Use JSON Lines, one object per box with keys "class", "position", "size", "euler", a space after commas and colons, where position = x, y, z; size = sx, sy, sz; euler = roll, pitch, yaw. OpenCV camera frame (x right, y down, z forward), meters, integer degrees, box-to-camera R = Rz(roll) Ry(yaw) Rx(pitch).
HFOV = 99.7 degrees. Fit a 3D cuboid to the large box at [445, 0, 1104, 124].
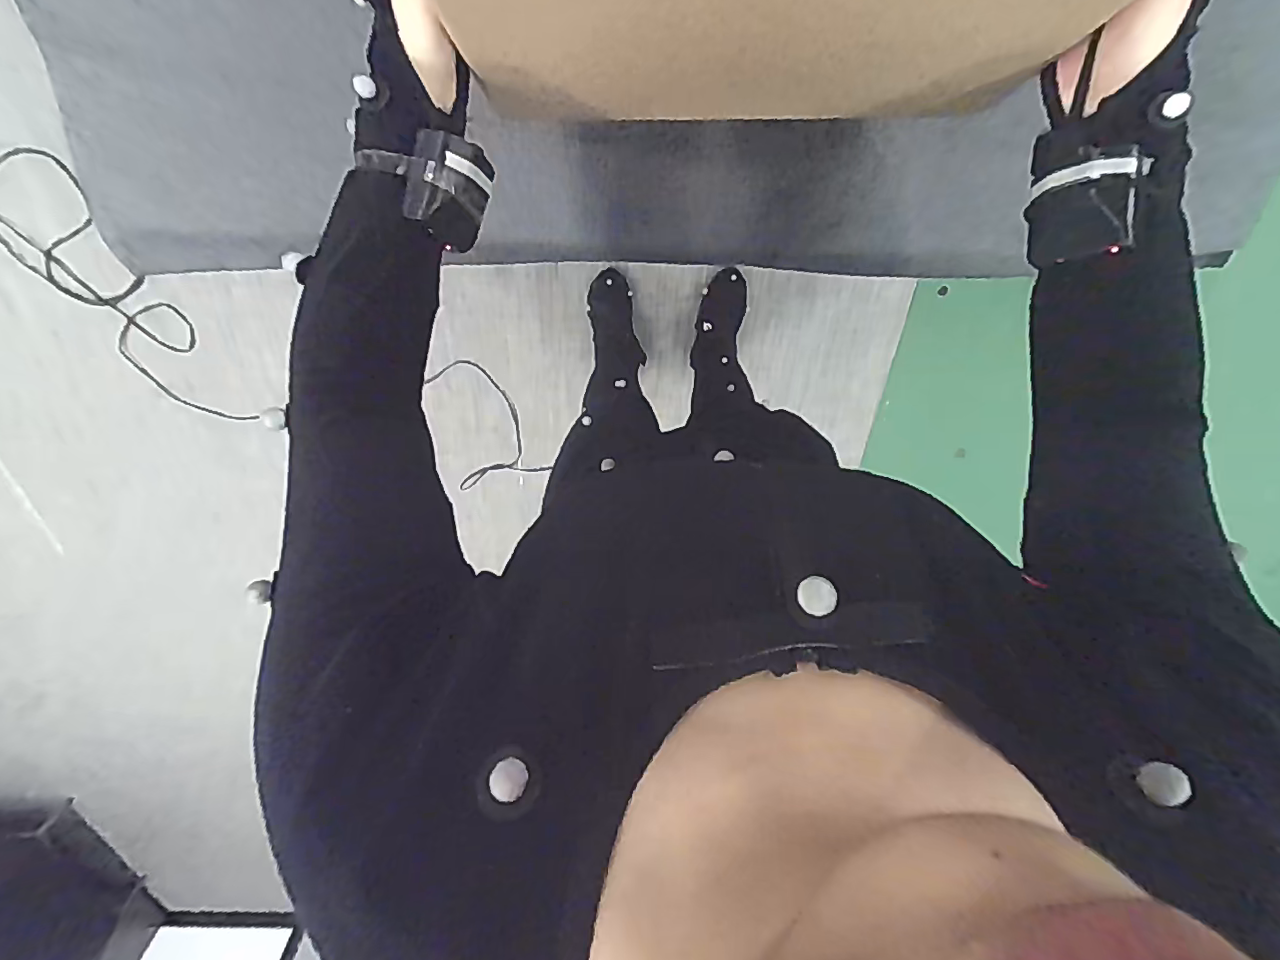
{"class": "large box", "position": [0.079, -0.425, 0.284], "size": [0.408, 0.320, 0.320], "euler": [-1, 103, 0]}
